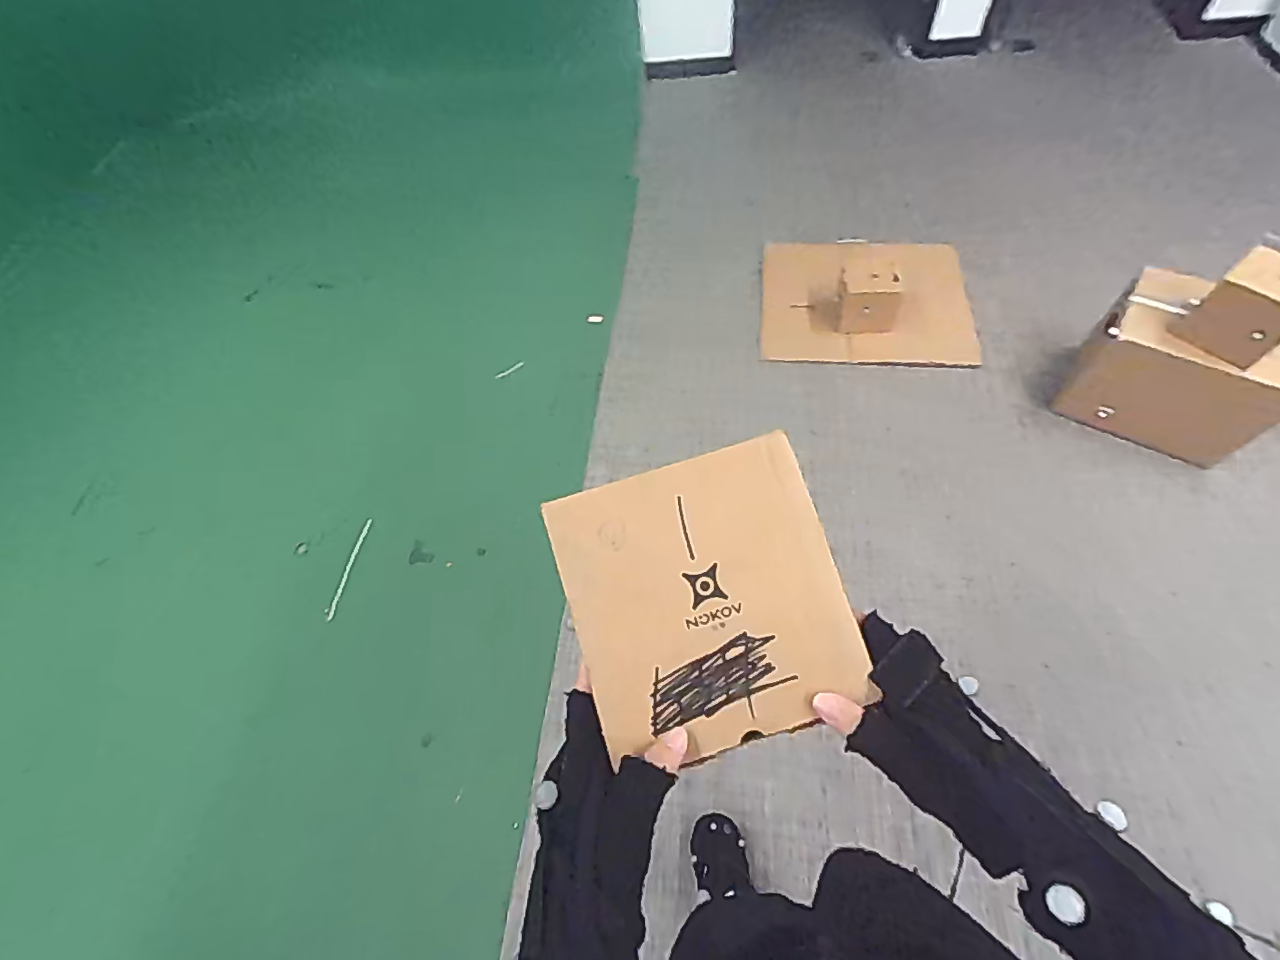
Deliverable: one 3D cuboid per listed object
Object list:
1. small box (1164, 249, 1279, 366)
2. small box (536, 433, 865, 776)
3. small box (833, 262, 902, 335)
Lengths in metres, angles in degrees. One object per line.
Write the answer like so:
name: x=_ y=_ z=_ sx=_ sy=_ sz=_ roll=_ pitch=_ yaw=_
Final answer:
small box: x=1.407 y=-0.394 z=1.261 sx=0.168 sy=0.176 sz=0.179 roll=-37 pitch=61 yaw=-16
small box: x=0.038 y=0.085 z=0.420 sx=0.168 sy=0.176 sz=0.179 roll=-20 pitch=81 yaw=-3
small box: x=0.755 y=-0.604 z=1.814 sx=0.179 sy=0.176 sz=0.168 roll=-1 pitch=57 yaw=8
